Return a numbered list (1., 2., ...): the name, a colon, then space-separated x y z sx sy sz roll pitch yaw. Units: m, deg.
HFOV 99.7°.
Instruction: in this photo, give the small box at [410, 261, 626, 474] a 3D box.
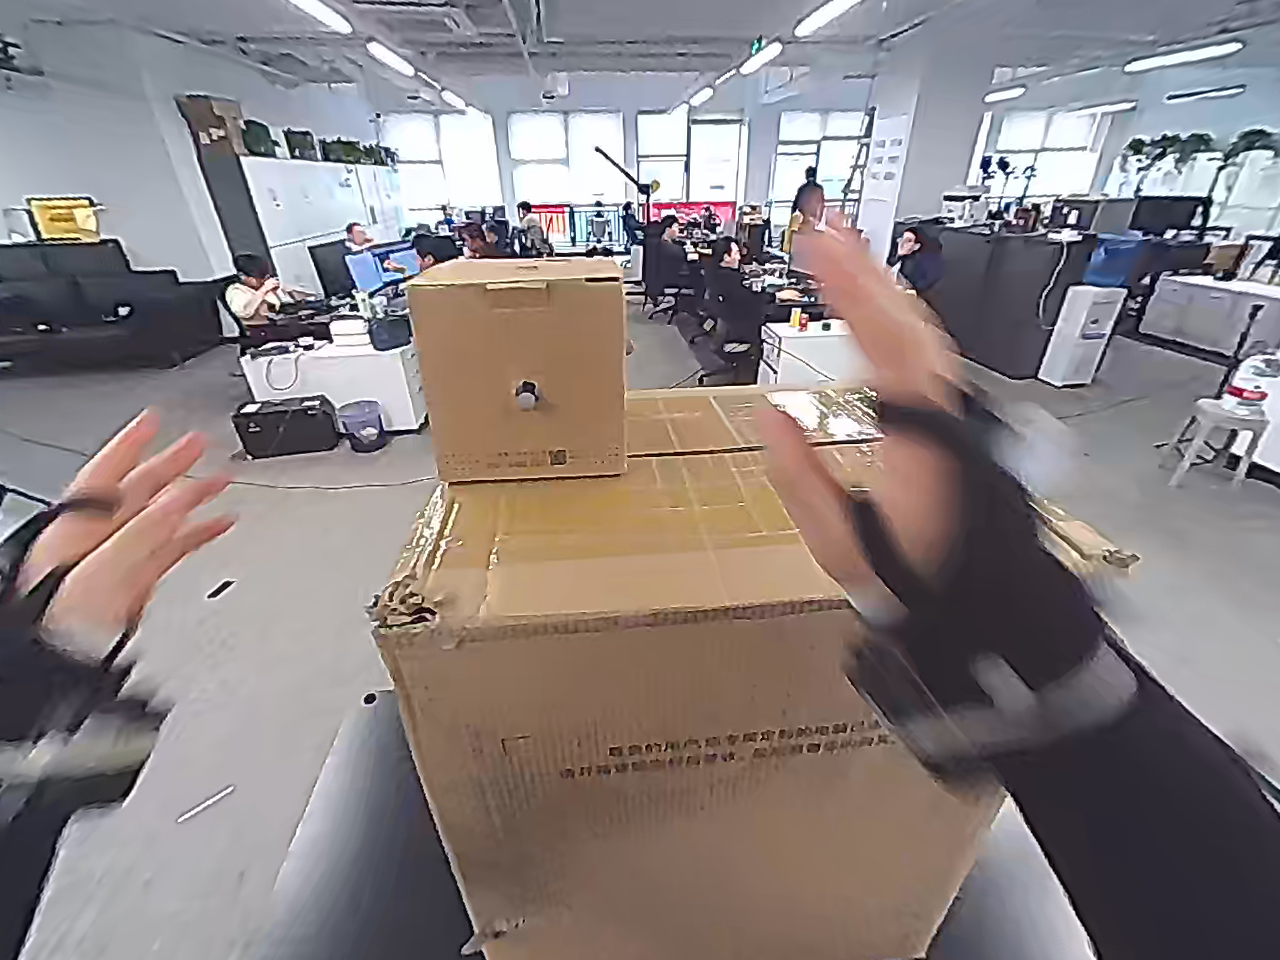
1. small box: -0.102 -0.111 0.527 0.168 0.176 0.179 -3 28 -5
